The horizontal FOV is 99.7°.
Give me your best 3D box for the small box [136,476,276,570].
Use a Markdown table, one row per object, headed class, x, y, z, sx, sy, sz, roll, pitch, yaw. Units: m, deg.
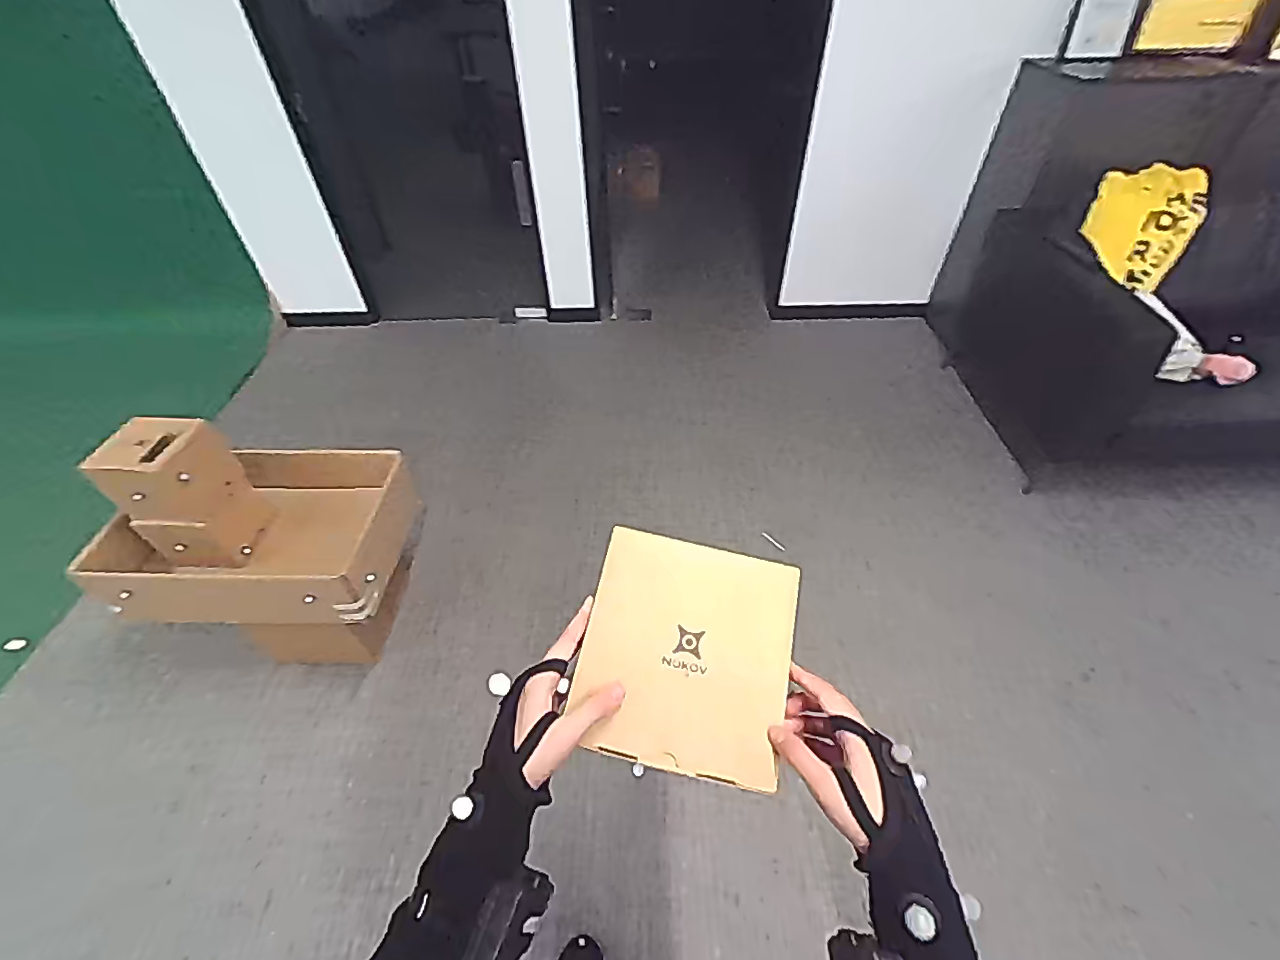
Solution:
| class | x | y | z | sx | sy | sz | roll | pitch | yaw |
| --- | --- | --- | --- | --- | --- | --- | --- | --- | --- |
| small box | -1.049 | 0.109 | 1.330 | 0.179 | 0.176 | 0.168 | 1 | 46 | 2 |
